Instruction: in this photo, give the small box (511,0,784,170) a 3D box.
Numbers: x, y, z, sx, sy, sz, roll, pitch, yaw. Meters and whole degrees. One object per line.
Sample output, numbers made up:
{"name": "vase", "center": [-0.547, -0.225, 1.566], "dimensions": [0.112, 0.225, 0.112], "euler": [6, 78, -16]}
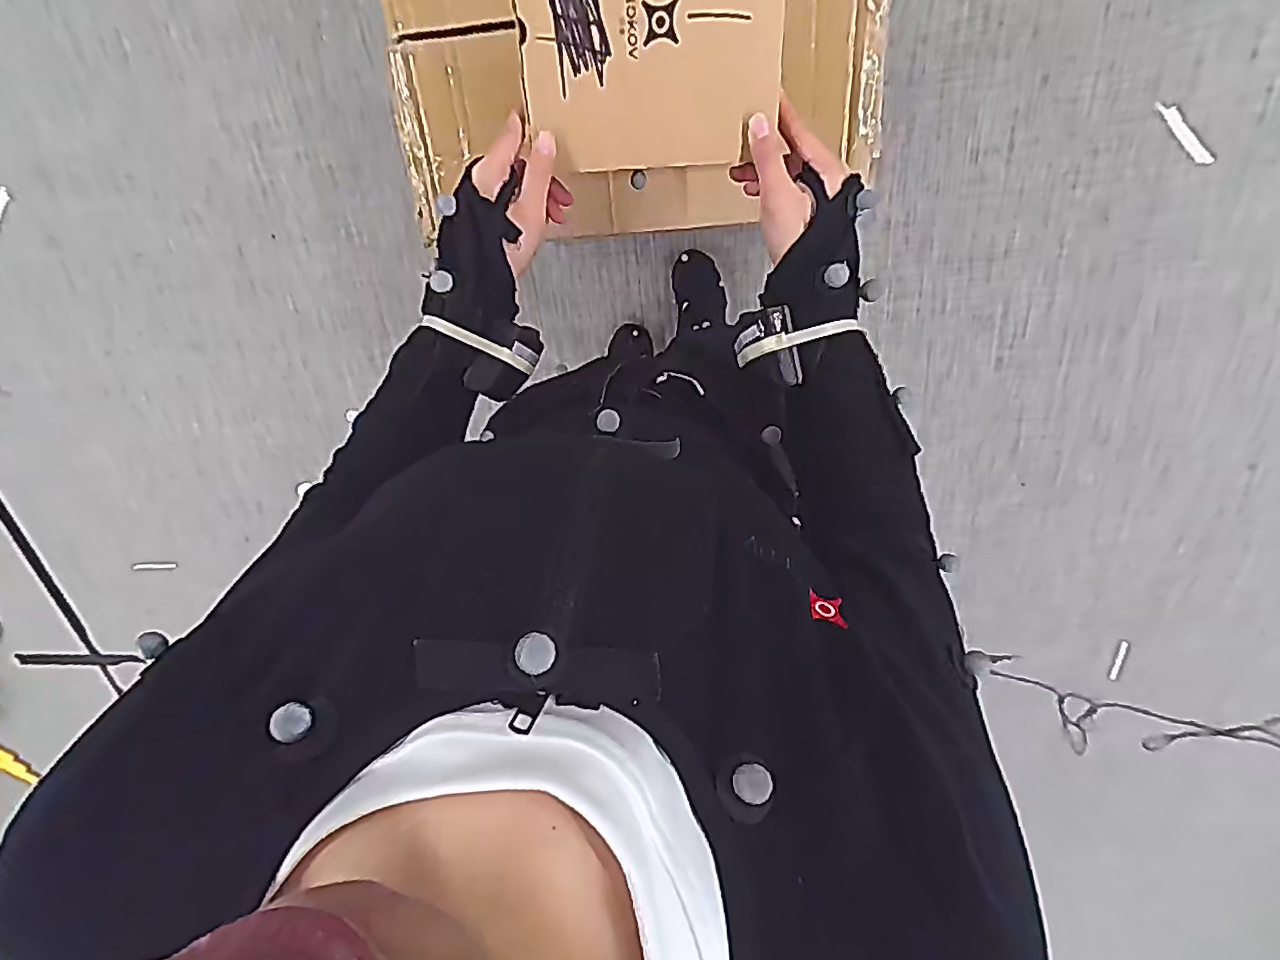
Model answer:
{"name": "small box", "center": [0.009, -0.336, 0.414], "dimensions": [0.179, 0.176, 0.168], "euler": [-1, 120, 4]}
